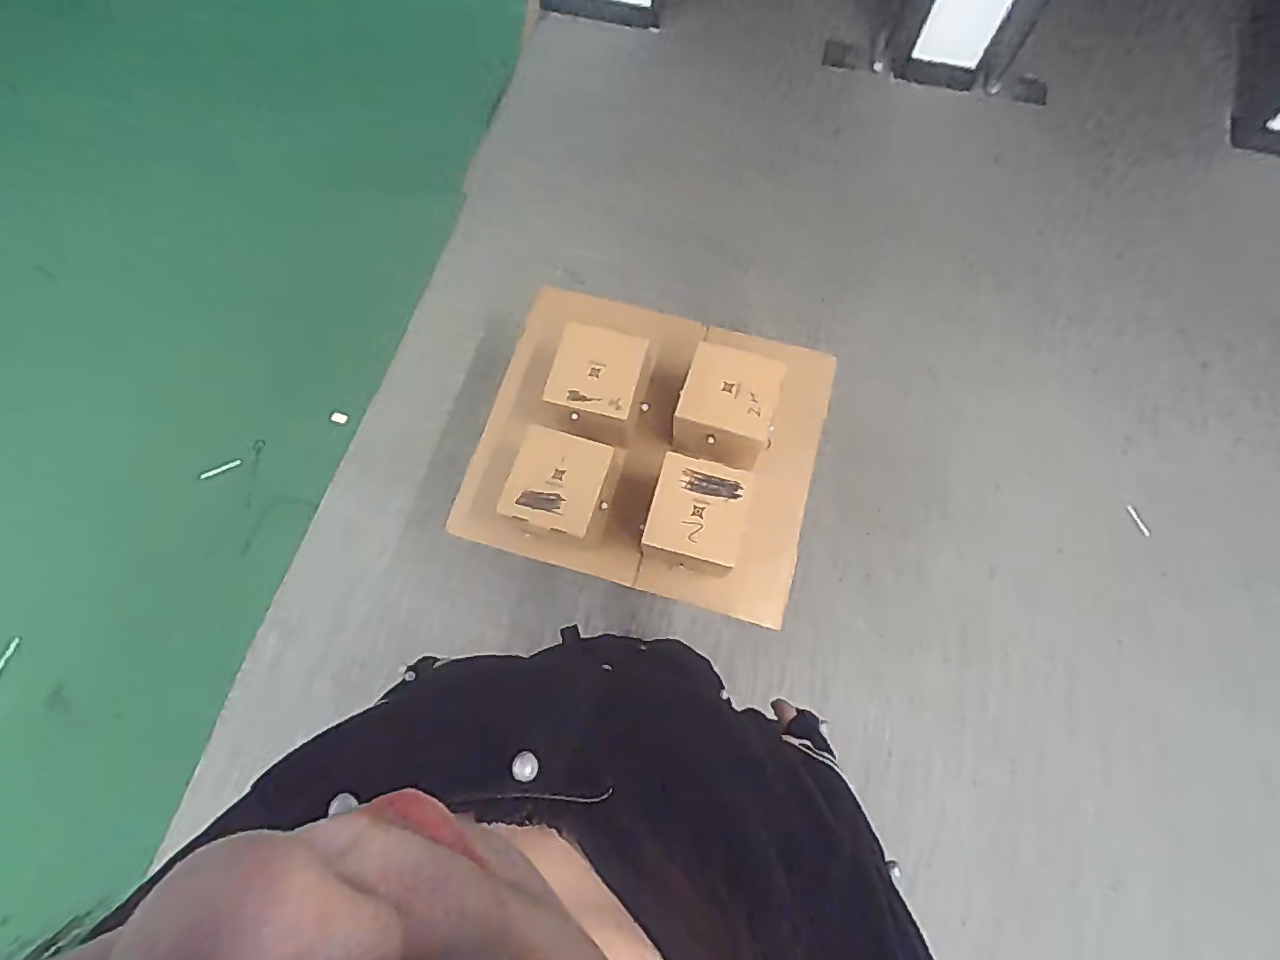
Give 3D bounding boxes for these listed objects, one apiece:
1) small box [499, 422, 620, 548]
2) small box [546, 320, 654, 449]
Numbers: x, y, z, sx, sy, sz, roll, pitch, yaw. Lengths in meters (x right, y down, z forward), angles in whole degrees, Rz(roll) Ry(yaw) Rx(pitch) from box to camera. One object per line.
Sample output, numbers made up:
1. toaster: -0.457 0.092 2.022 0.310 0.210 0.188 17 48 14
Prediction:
1. small box: -0.140 0.018 1.029 0.168 0.176 0.179 17 74 7
2. small box: -0.072 -0.186 1.085 0.168 0.176 0.179 14 73 7
